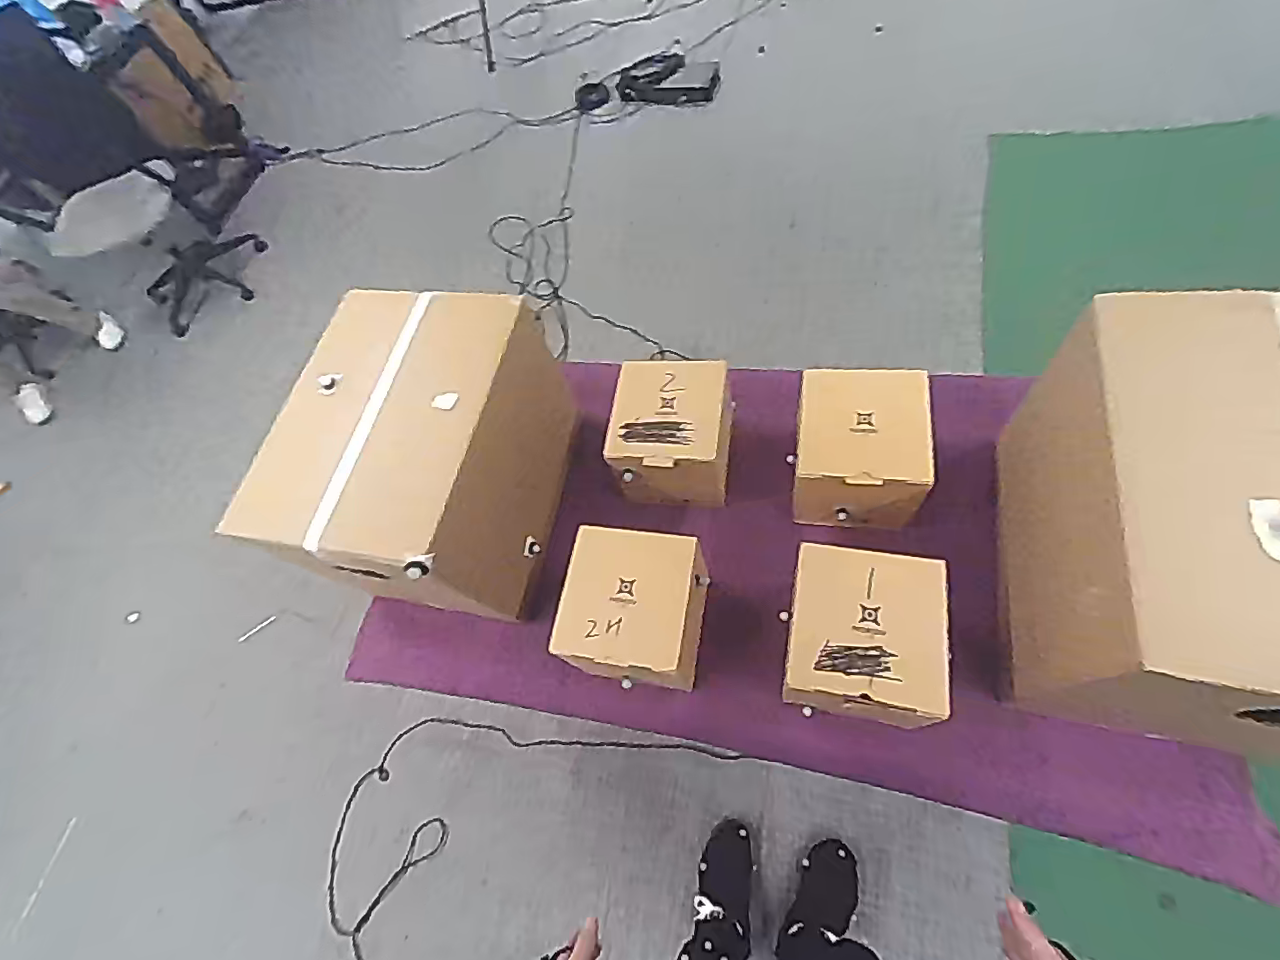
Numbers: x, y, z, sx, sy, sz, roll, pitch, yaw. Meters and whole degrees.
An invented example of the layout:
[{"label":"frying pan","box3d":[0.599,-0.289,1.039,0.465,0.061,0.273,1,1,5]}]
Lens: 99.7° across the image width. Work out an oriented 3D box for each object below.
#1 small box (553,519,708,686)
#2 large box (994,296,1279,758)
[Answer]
[{"label":"small box","box3d":[0.000,0.174,0.755,0.168,0.176,0.179,5,64,15]},{"label":"large box","box3d":[0.626,0.060,0.597,0.320,0.320,0.408,7,66,17]}]
